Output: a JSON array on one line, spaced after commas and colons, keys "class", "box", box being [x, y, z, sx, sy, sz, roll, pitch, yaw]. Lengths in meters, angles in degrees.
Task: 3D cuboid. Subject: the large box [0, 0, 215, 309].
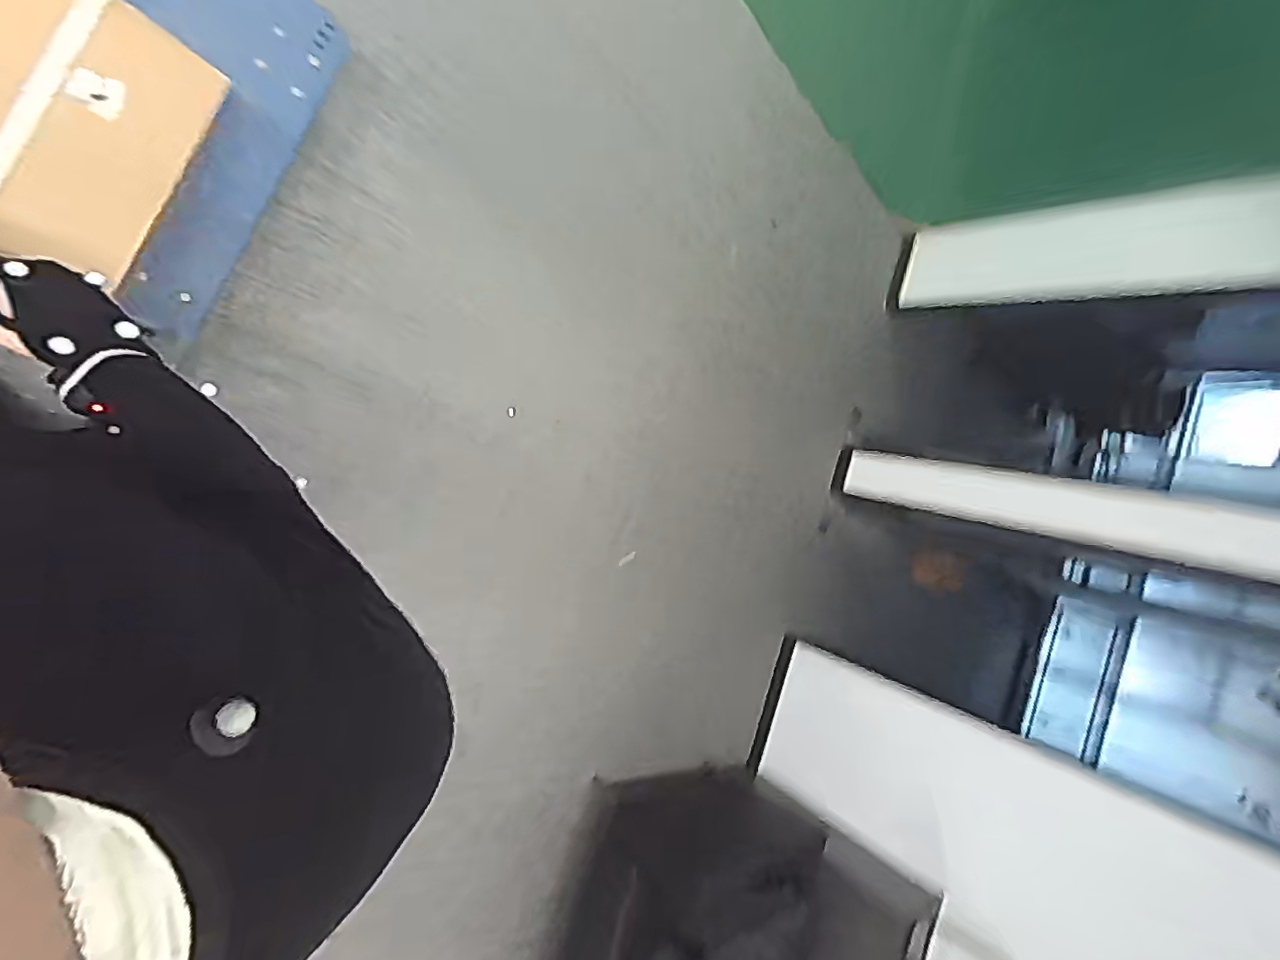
[{"class": "large box", "box": [-0.942, -0.532, 0.846, 0.320, 0.320, 0.408, 28, 80, -43]}]
